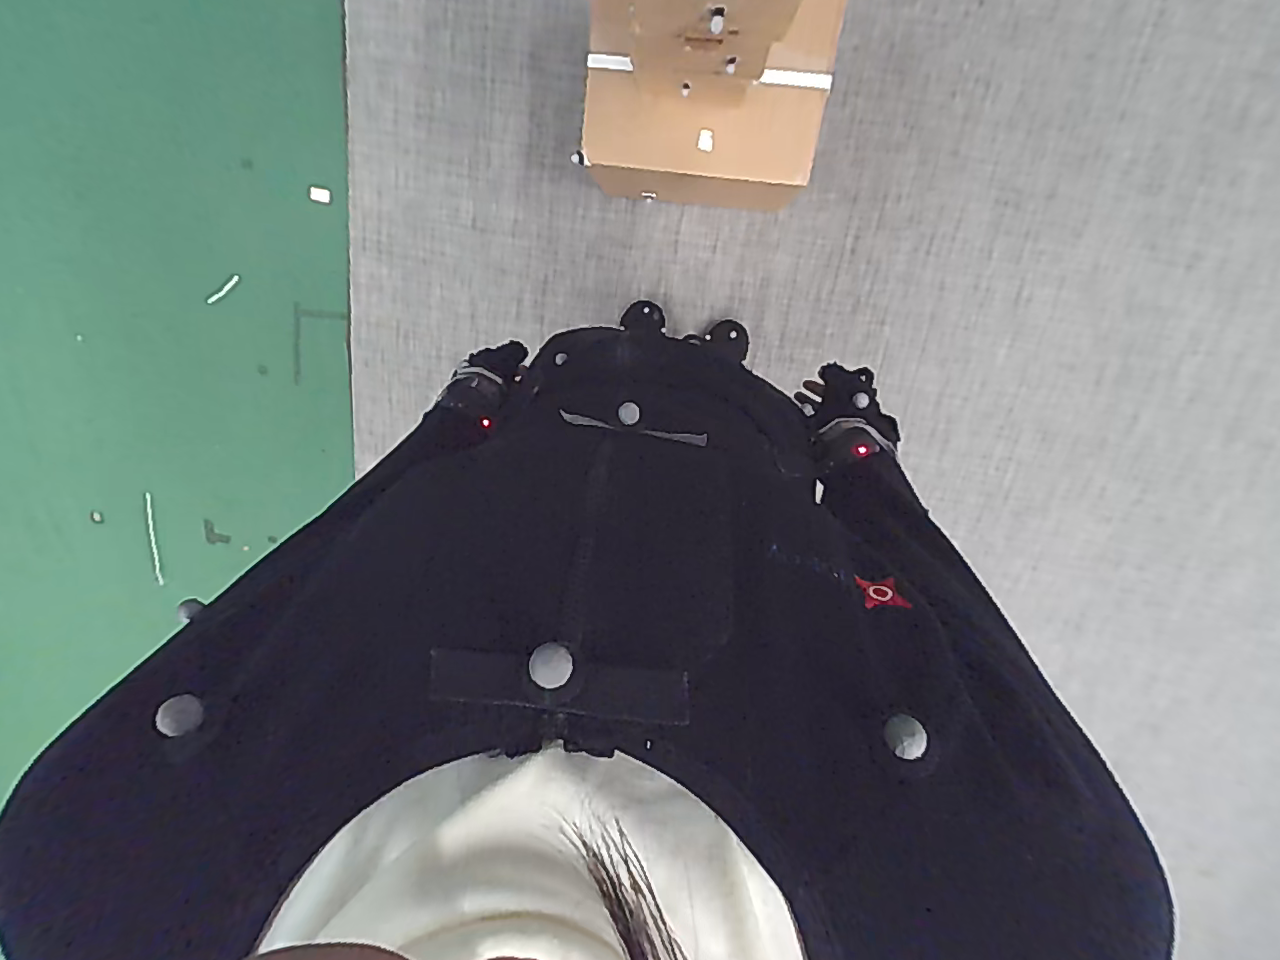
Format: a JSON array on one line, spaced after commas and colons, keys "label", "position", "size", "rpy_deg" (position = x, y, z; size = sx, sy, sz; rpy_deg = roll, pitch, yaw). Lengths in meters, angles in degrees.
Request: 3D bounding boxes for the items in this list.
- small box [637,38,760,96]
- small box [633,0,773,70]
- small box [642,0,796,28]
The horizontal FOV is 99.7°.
[{"label": "small box", "position": [0.097, -0.692, 0.805], "size": [0.179, 0.176, 0.168], "rpy_deg": [8, 116, 3]}, {"label": "small box", "position": [0.086, -0.626, 0.657], "size": [0.168, 0.176, 0.179], "rpy_deg": [5, 114, 3]}, {"label": "small box", "position": [0.083, -0.558, 0.508], "size": [0.168, 0.176, 0.179], "rpy_deg": [6, 116, 4]}]
